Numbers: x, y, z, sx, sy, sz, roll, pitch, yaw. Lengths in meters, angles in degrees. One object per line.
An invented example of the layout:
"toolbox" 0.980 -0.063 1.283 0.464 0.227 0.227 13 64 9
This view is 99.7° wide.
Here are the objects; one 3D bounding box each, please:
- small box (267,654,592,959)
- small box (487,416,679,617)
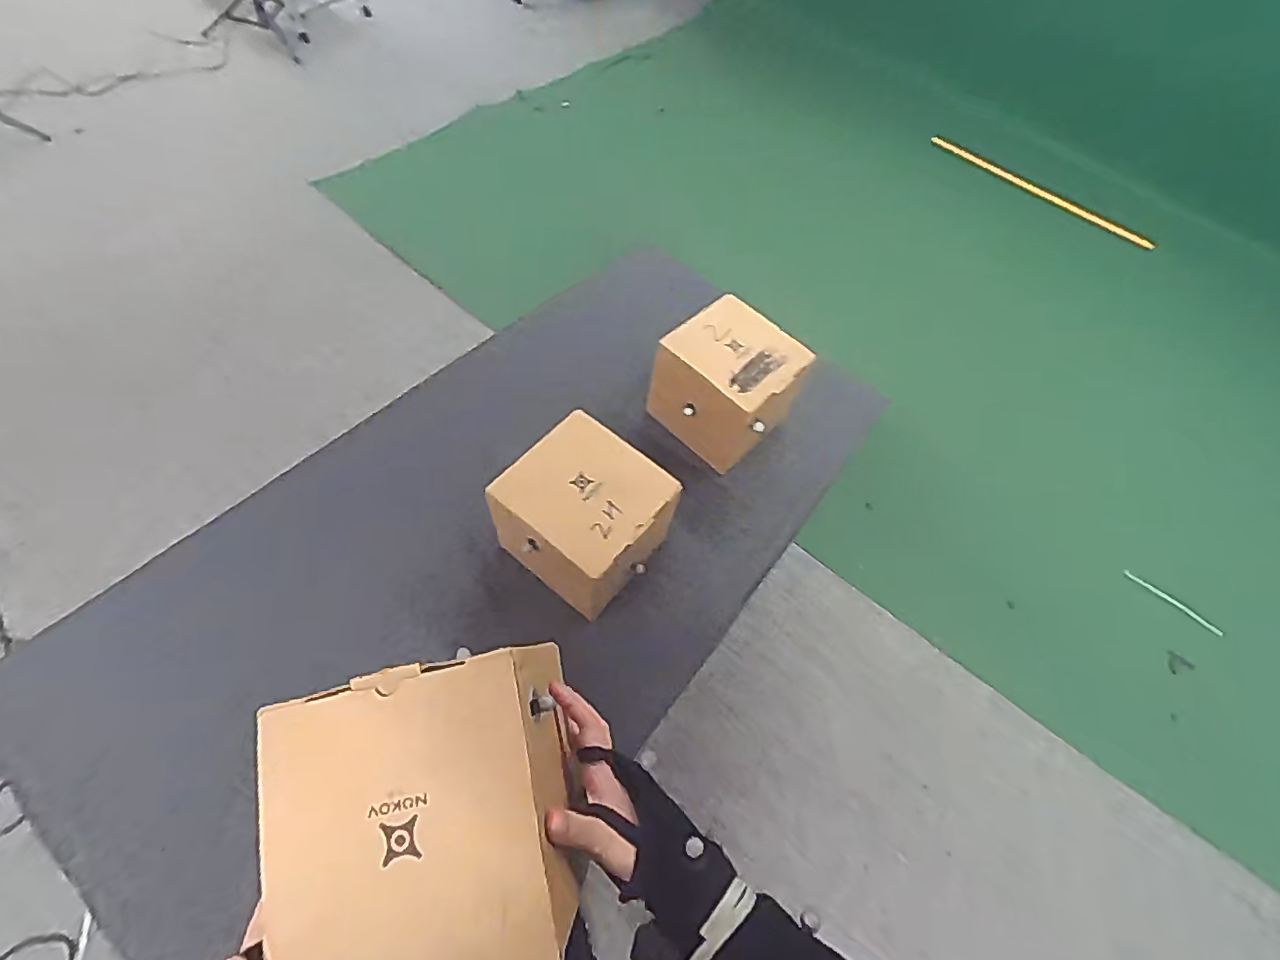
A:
"small box" -0.136 0.233 0.398 0.168 0.176 0.179 -13 72 -3
"small box" -0.076 0.055 0.722 0.179 0.176 0.168 37 62 14
